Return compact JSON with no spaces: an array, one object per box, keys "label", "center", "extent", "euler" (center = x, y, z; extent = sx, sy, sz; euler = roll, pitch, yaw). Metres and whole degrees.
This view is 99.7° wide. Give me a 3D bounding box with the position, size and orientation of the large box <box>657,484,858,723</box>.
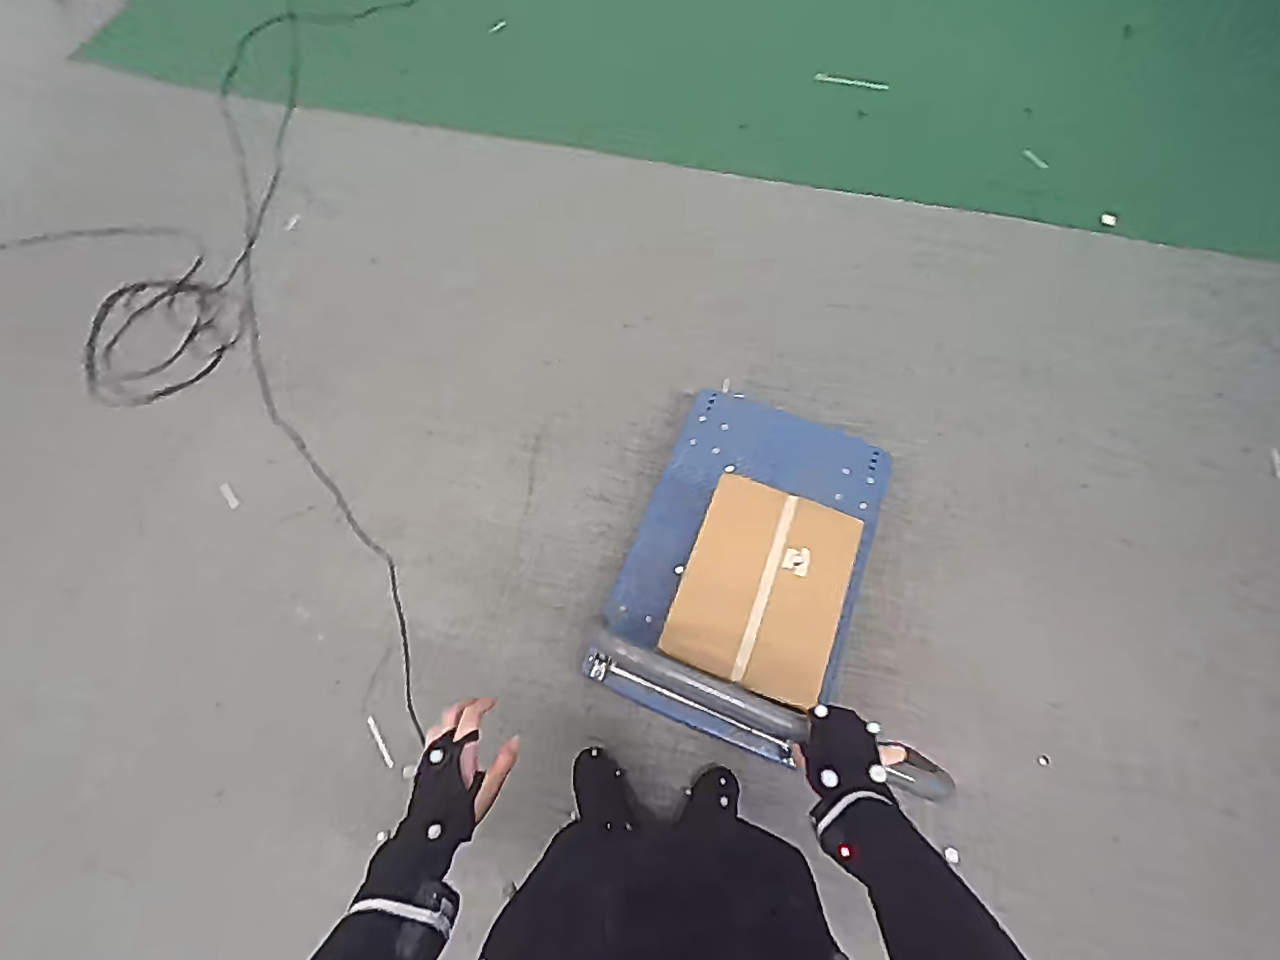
[{"label":"large box","center":[0.247,0.286,1.213],"extent":[0.320,0.320,0.408],"euler":[20,68,7]}]
